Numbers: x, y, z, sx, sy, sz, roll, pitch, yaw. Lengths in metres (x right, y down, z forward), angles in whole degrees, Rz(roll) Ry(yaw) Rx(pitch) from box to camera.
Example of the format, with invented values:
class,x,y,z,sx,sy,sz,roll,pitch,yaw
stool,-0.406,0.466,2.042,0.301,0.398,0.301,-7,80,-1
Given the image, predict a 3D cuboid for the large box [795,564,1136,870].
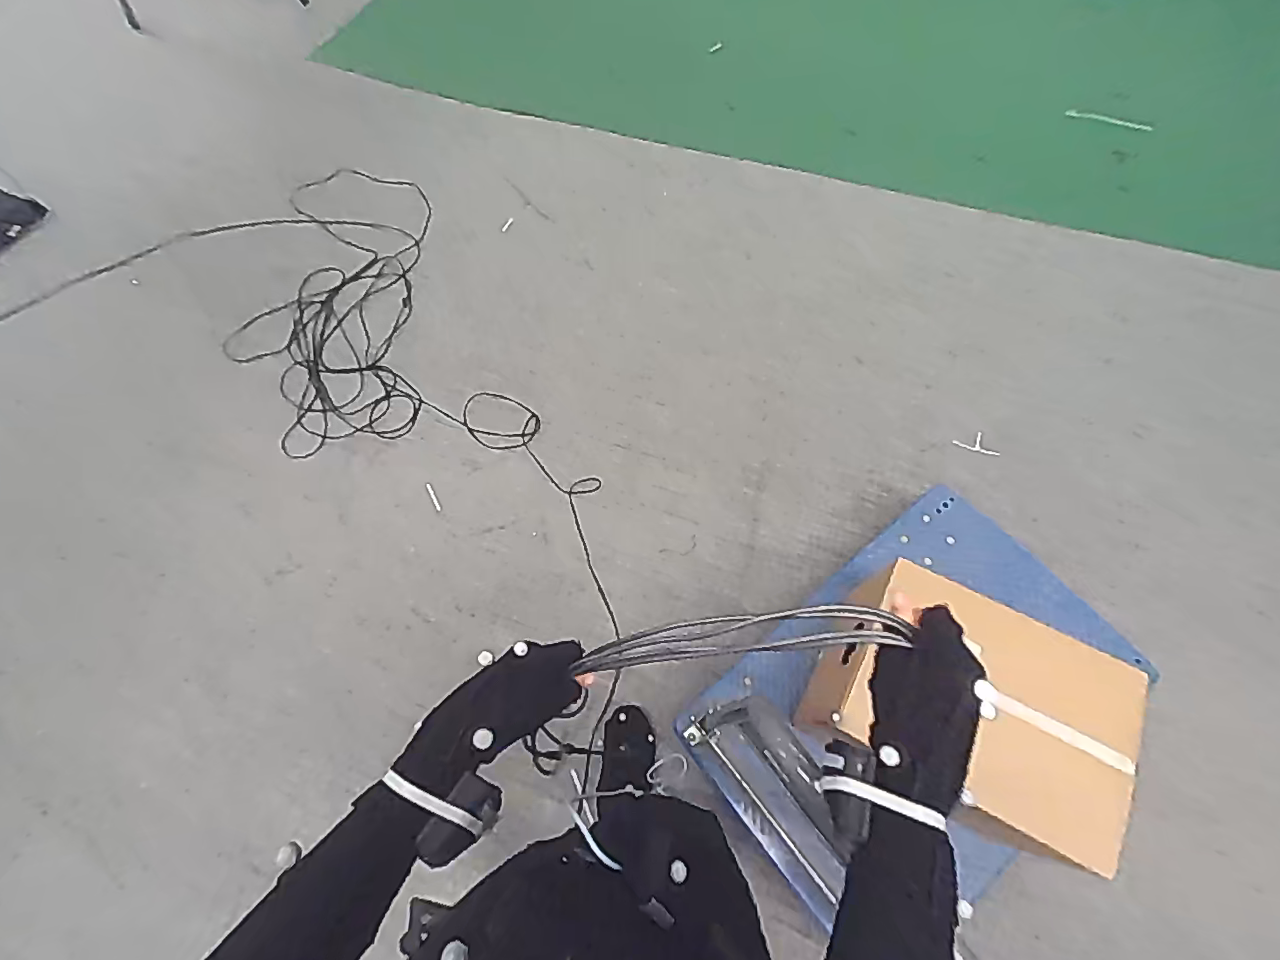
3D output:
class,x,y,z,sx,sy,sz,roll,pitch,yaw
large box,0.557,0.412,0.994,0.408,0.320,0.320,26,68,14
